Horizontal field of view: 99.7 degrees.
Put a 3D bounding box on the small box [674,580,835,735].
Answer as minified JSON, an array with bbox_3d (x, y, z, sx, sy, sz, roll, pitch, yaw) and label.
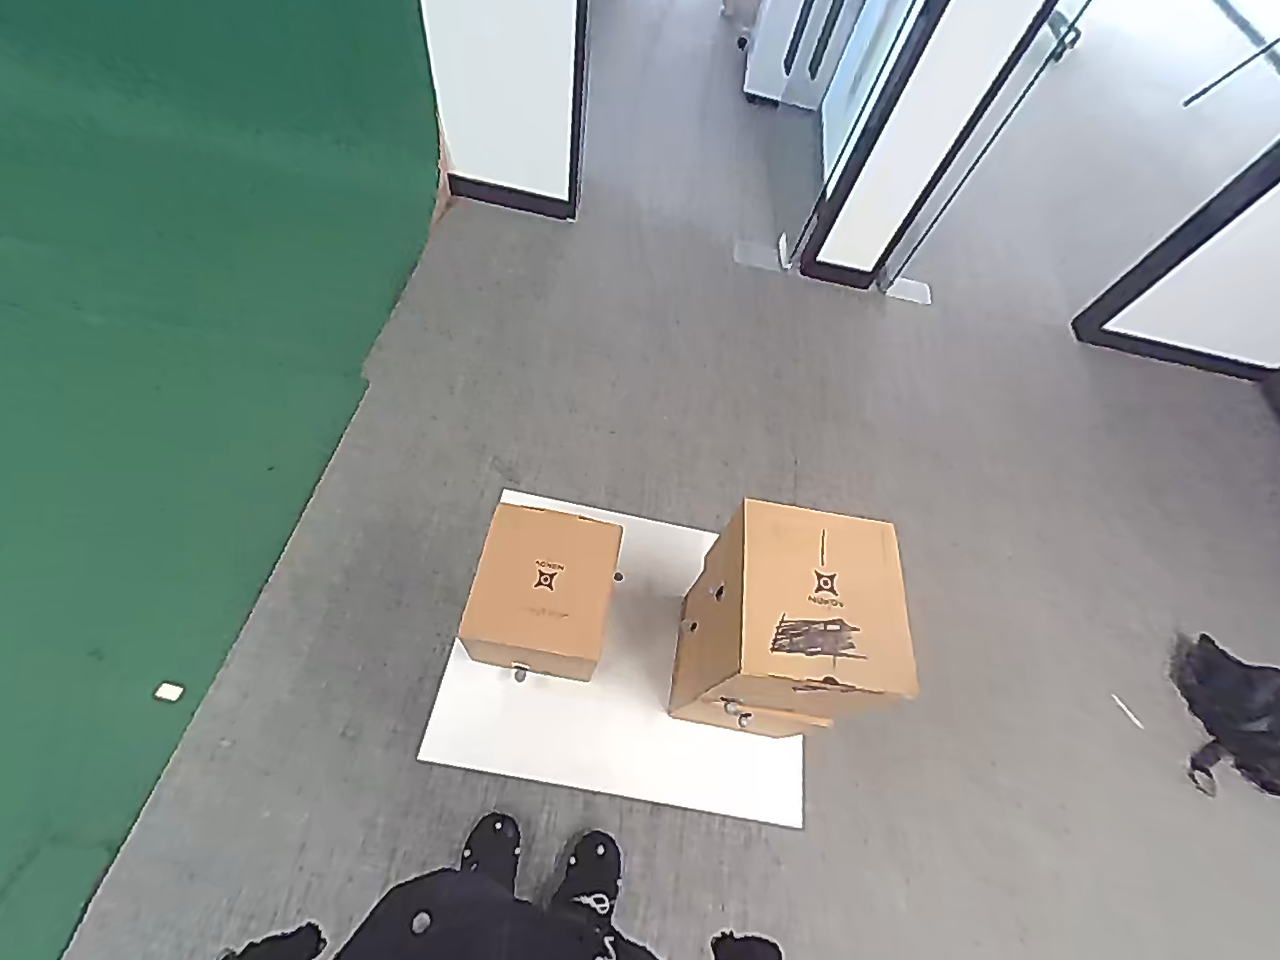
[{"bbox_3d":[0.146,0.229,0.727,0.168,0.176,0.179,11,60,-2],"label":"small box"}]

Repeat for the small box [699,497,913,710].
[{"bbox_3d":[0.163,0.143,0.588,0.168,0.176,0.179,9,60,-4],"label":"small box"}]

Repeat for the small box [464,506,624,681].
[{"bbox_3d":[-0.122,0.158,0.726,0.168,0.176,0.179,10,62,-3],"label":"small box"}]
